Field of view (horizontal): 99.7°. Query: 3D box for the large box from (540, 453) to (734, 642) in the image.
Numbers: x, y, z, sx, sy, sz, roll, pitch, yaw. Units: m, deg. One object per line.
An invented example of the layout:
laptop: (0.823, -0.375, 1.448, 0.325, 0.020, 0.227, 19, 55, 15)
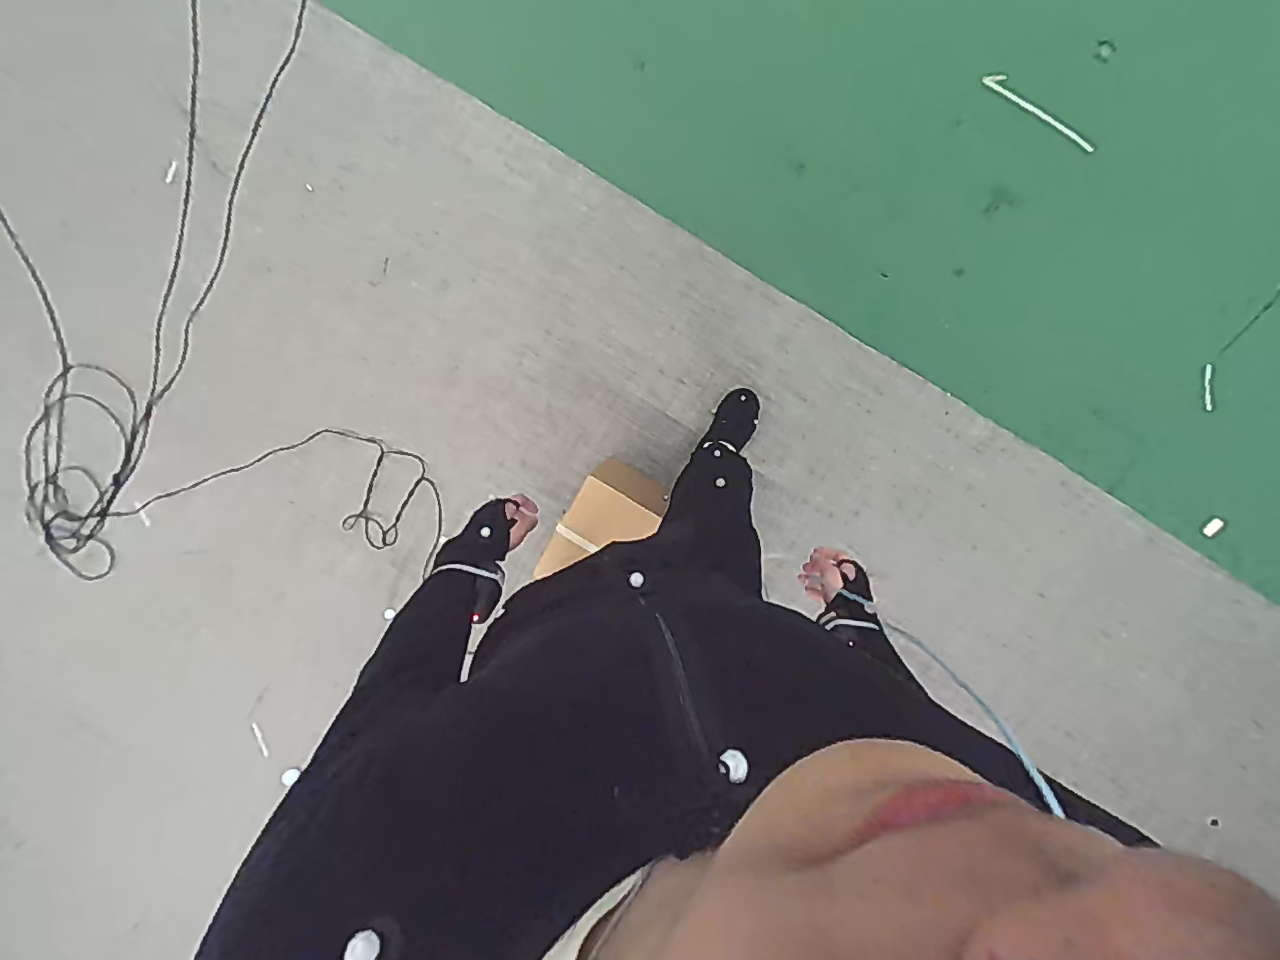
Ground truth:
large box: (0.000, 0.164, 1.493, 0.408, 0.320, 0.320, 30, 103, 0)
